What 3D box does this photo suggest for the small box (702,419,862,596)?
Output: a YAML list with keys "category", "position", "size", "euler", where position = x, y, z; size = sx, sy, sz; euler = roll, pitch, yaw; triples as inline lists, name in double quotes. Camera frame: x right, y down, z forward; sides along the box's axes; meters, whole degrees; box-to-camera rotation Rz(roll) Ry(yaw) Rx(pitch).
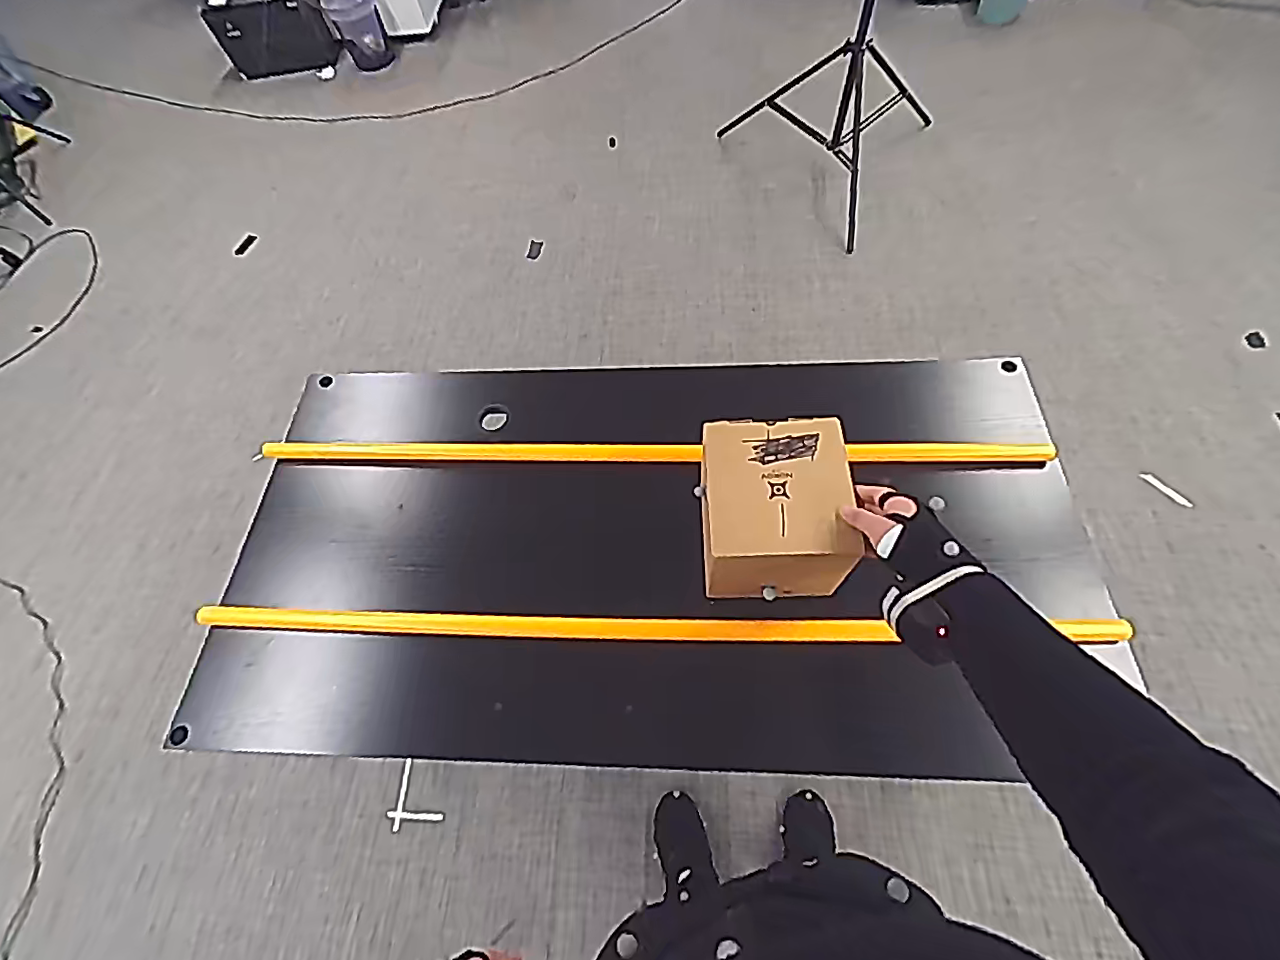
- category: "small box"
  position: [0.167, 0.041, 0.699]
  size: [0.168, 0.176, 0.179]
  euler: [-2, 63, 5]
